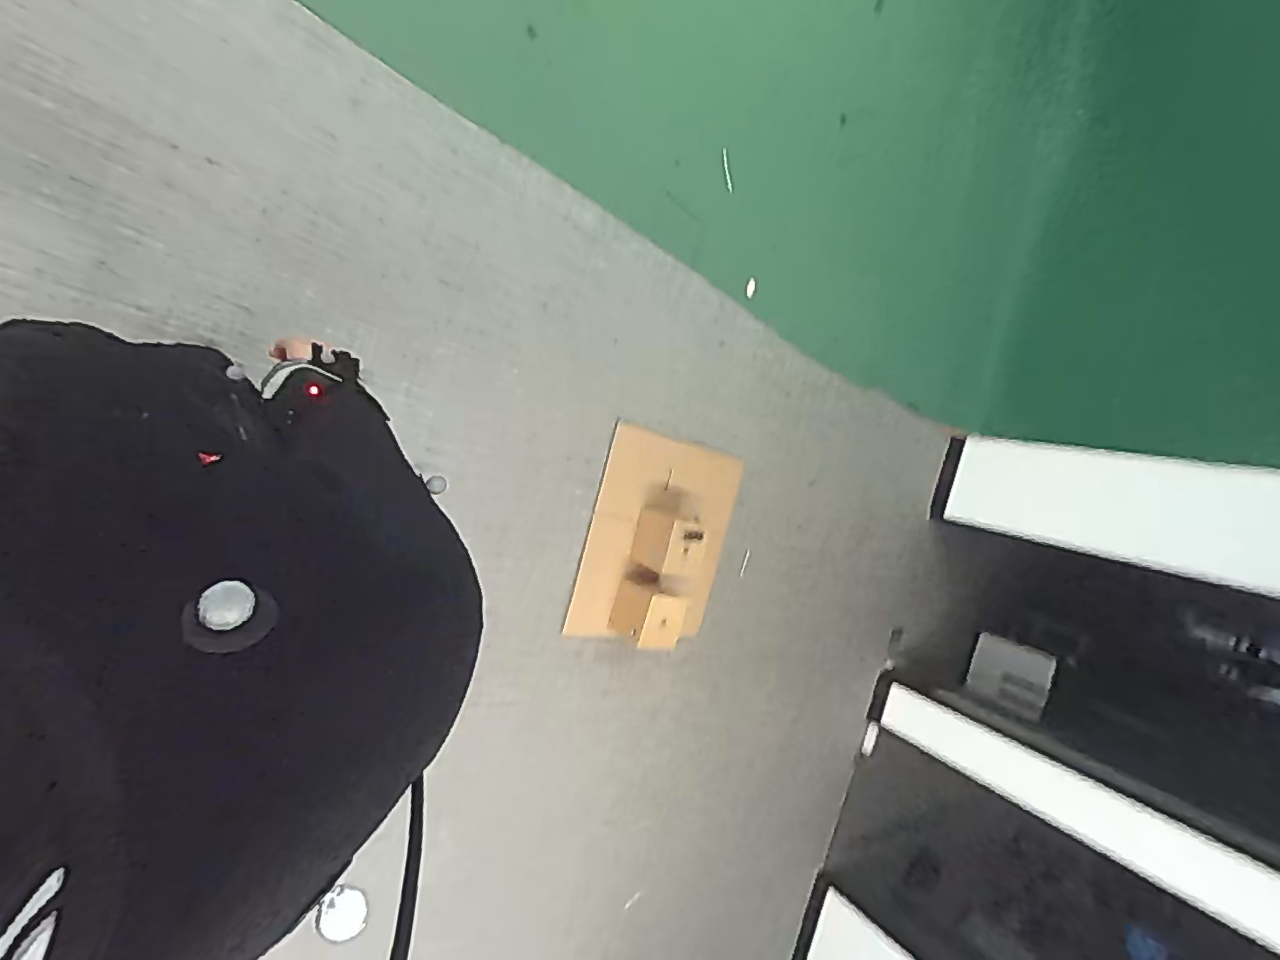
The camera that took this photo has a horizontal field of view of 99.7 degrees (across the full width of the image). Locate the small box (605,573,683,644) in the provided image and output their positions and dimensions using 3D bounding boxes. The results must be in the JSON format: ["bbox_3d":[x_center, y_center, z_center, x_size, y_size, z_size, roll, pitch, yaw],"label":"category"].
[{"bbox_3d":[0.009,0.416,1.763,0.168,0.176,0.179,15,93,-40],"label":"small box"}]
